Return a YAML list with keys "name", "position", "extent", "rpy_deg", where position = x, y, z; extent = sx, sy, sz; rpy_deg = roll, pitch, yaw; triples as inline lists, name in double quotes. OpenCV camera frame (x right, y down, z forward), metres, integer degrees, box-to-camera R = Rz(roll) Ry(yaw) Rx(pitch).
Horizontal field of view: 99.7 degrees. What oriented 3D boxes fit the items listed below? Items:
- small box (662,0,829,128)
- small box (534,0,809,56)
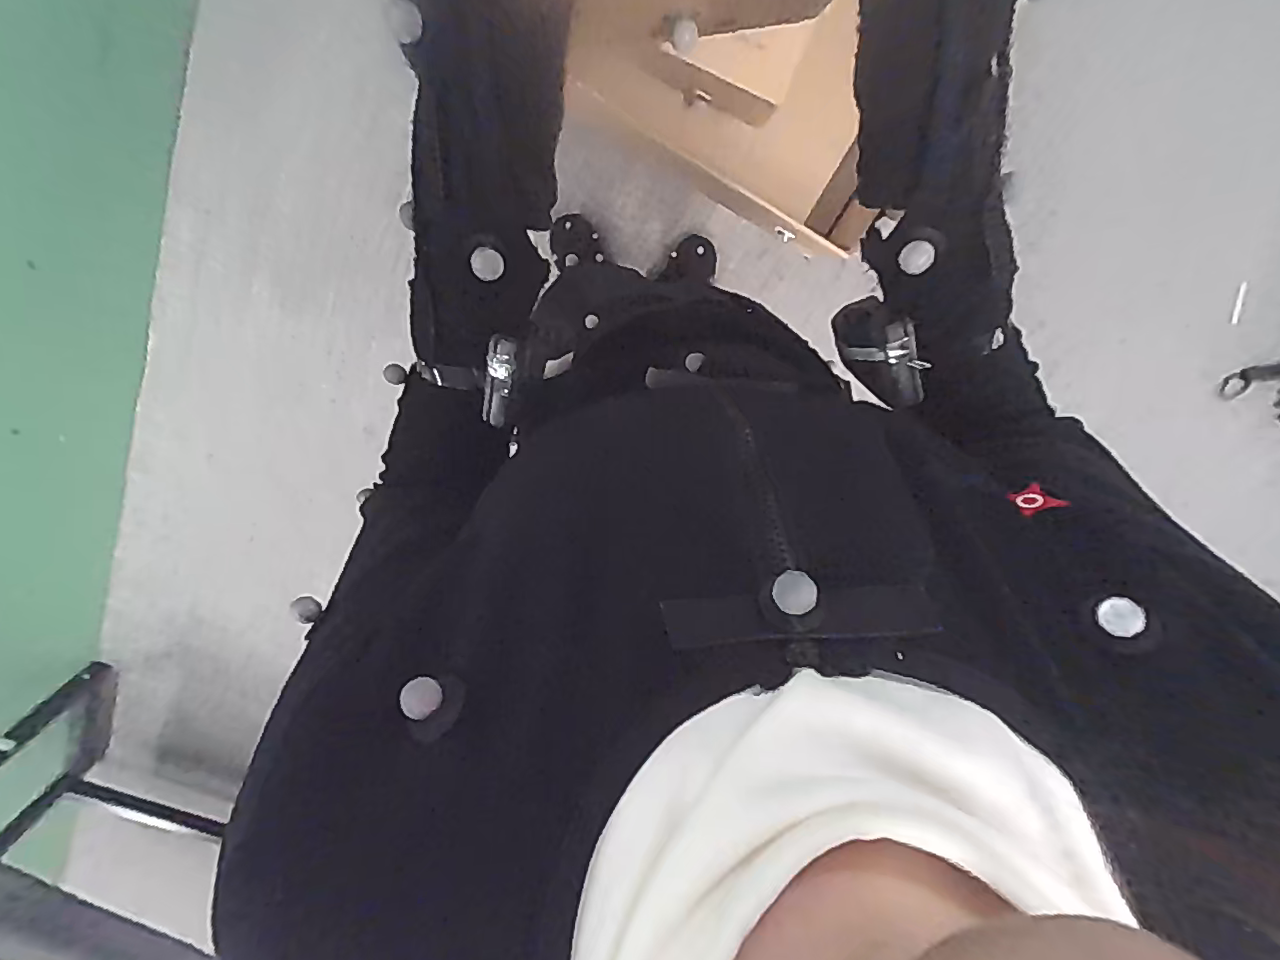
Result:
- name: "small box"
  position: [0.133, -0.591, 0.695]
  extent: [0.168, 0.176, 0.179]
  rpy_deg: [21, 114, -7]
- name: "small box"
  position: [0.012, -0.321, 0.231]
  extent: [0.168, 0.176, 0.179]
  rpy_deg: [-7, 116, 3]
